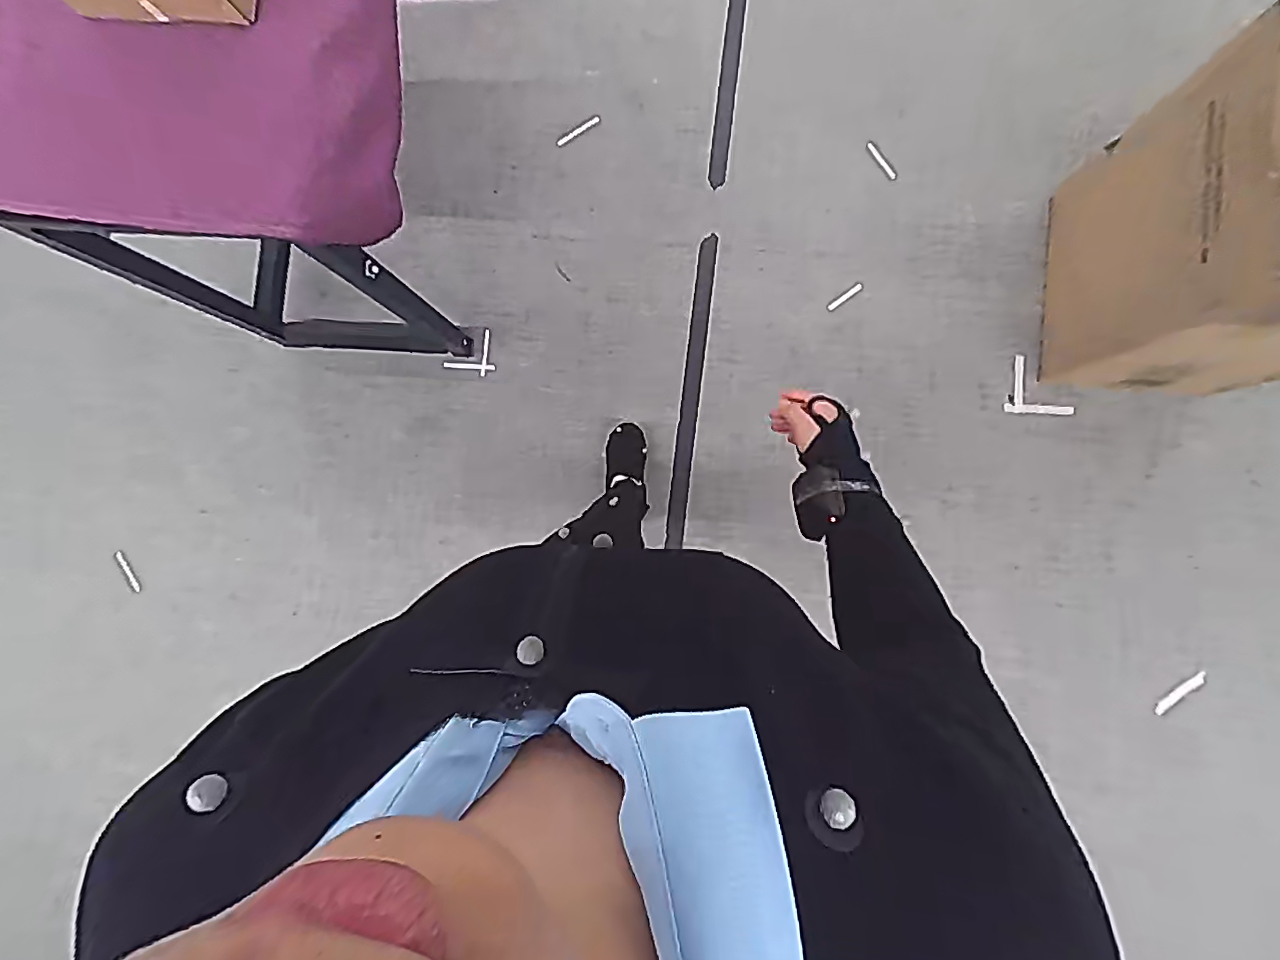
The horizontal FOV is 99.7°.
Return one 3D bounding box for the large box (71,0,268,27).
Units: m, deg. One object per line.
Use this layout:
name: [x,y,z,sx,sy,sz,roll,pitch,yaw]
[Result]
large box: [-0.736,-0.935,0.727,0.320,0.320,0.408,6,88,7]
